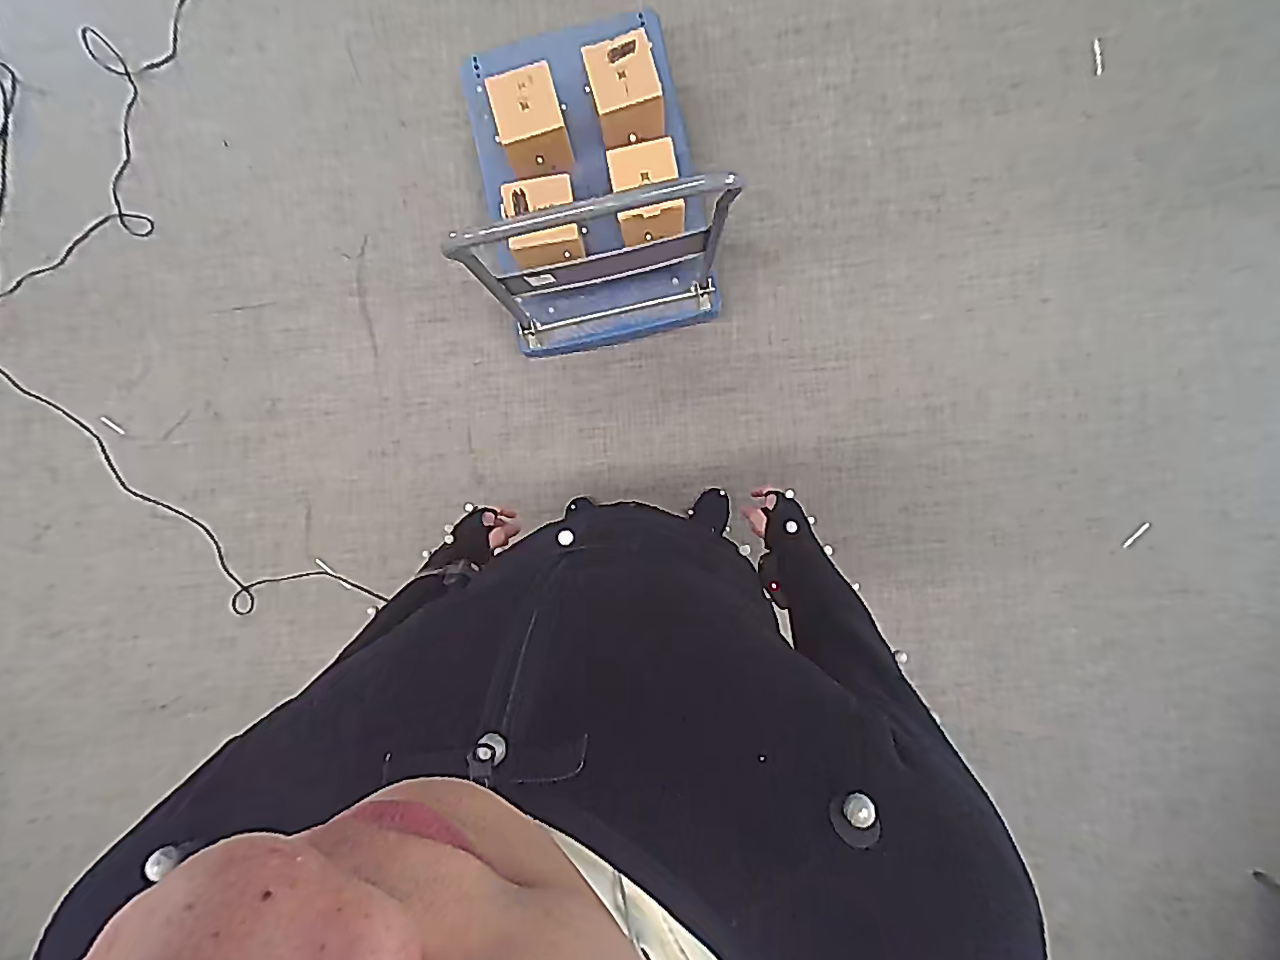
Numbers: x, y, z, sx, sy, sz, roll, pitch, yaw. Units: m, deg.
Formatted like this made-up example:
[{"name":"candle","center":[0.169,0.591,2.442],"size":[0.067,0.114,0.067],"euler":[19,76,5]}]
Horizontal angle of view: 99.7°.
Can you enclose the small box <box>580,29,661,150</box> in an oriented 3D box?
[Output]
[{"name":"small box","center":[-0.045,-0.998,1.400],"size":[0.168,0.176,0.179],"euler":[-16,90,4]}]

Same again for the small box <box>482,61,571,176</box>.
[{"name":"small box","center":[-0.287,-0.929,1.412],"size":[0.168,0.176,0.179],"euler":[-15,89,2]}]

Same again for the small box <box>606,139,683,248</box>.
[{"name":"small box","center":[0.012,-0.734,1.398],"size":[0.168,0.176,0.179],"euler":[-11,90,2]}]
